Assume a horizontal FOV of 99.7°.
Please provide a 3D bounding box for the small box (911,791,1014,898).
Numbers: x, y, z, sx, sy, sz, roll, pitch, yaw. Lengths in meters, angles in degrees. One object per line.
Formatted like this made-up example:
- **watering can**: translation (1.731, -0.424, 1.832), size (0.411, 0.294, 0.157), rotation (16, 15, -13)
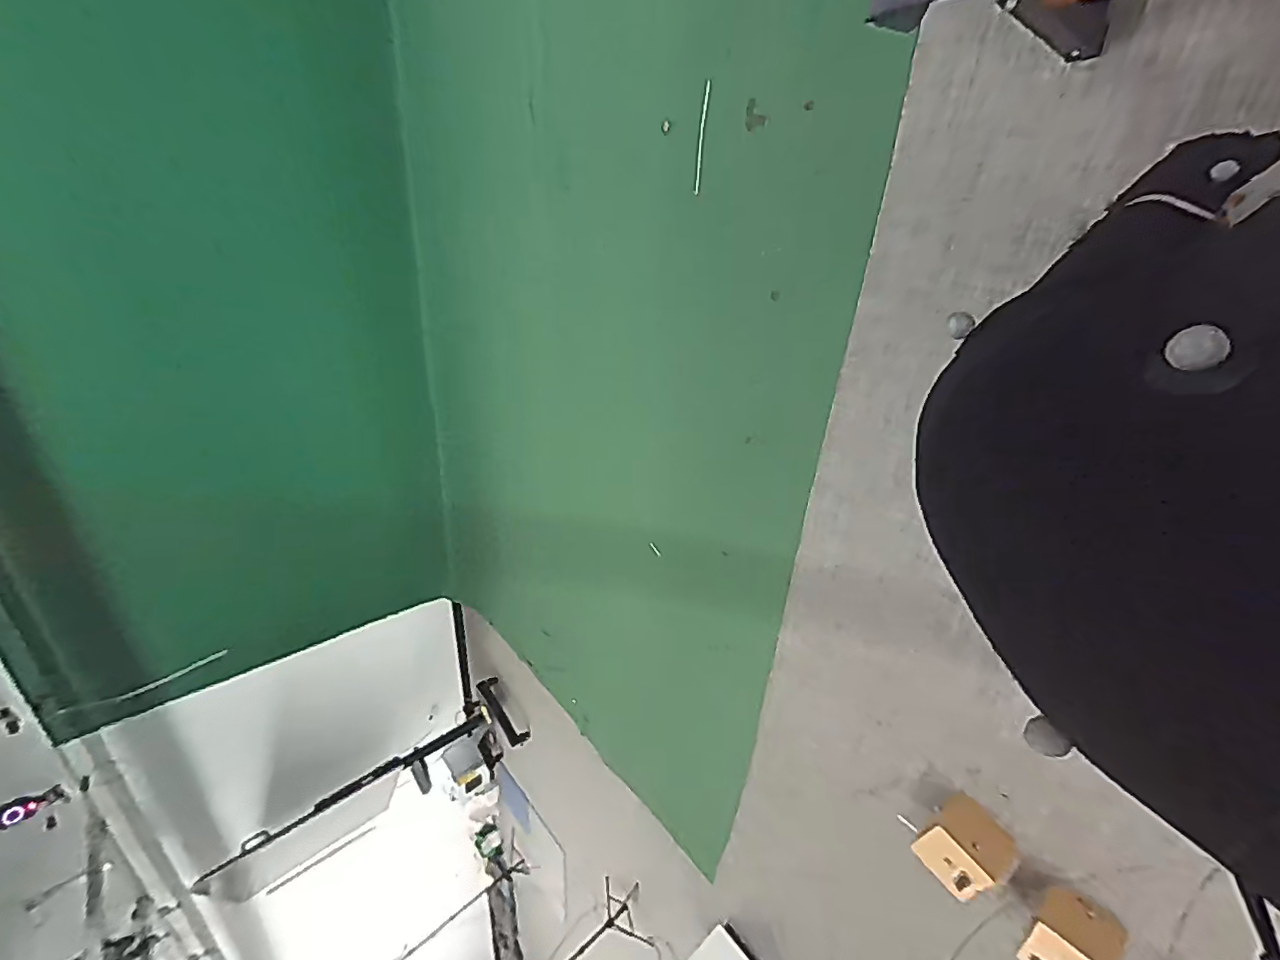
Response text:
- **small box**: translation (0.953, 1.068, 1.593), size (0.179, 0.176, 0.168), rotation (44, 134, 32)
